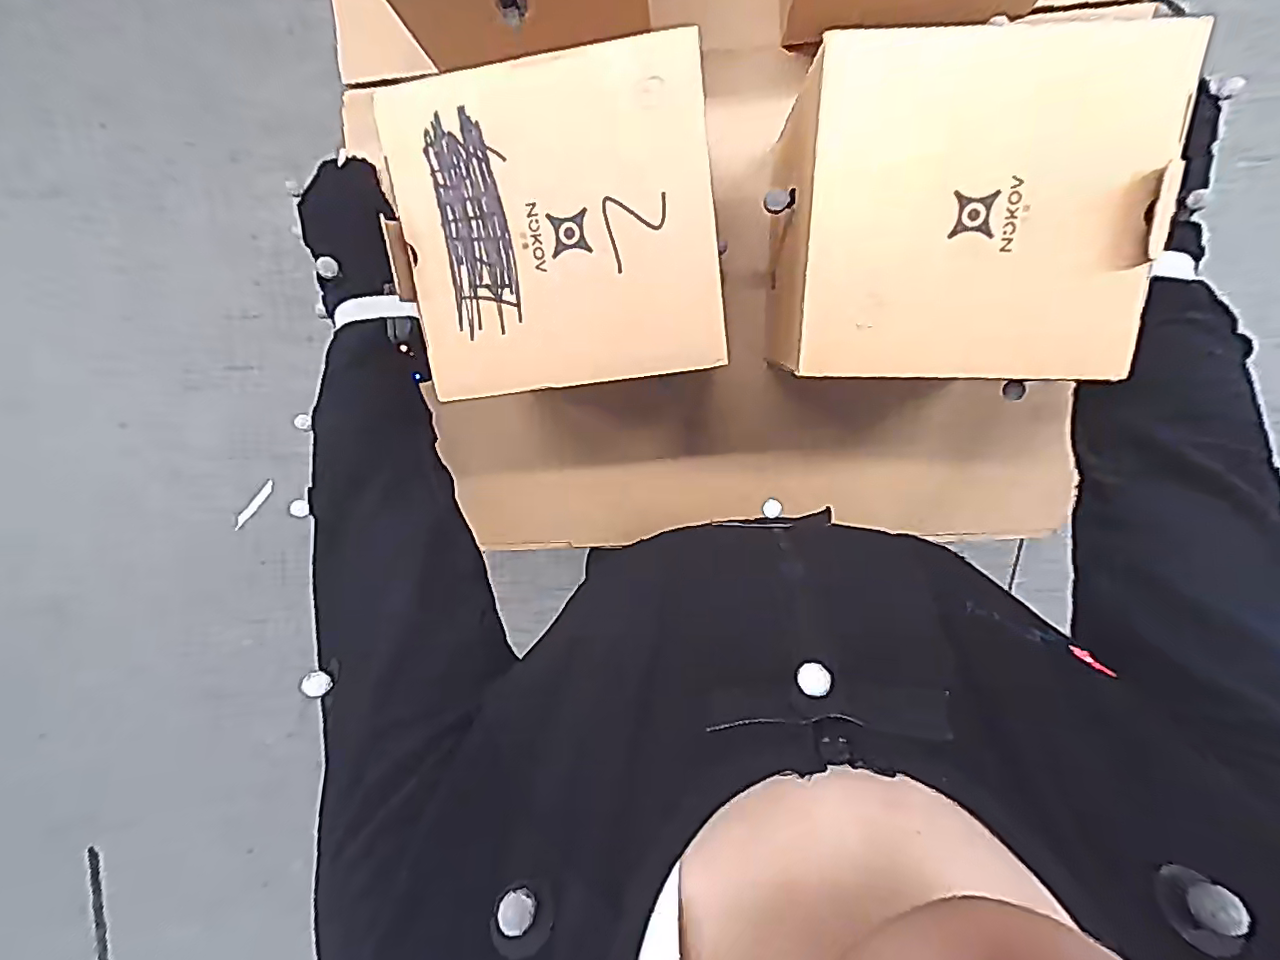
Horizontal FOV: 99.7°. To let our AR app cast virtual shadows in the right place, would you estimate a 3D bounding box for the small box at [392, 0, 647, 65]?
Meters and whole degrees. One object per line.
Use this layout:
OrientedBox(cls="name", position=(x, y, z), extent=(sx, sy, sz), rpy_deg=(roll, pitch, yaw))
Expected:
OrientedBox(cls="small box", position=(-0.087, -0.395, 0.333), extent=(0.168, 0.176, 0.179), rpy_deg=(-3, 97, 6))
